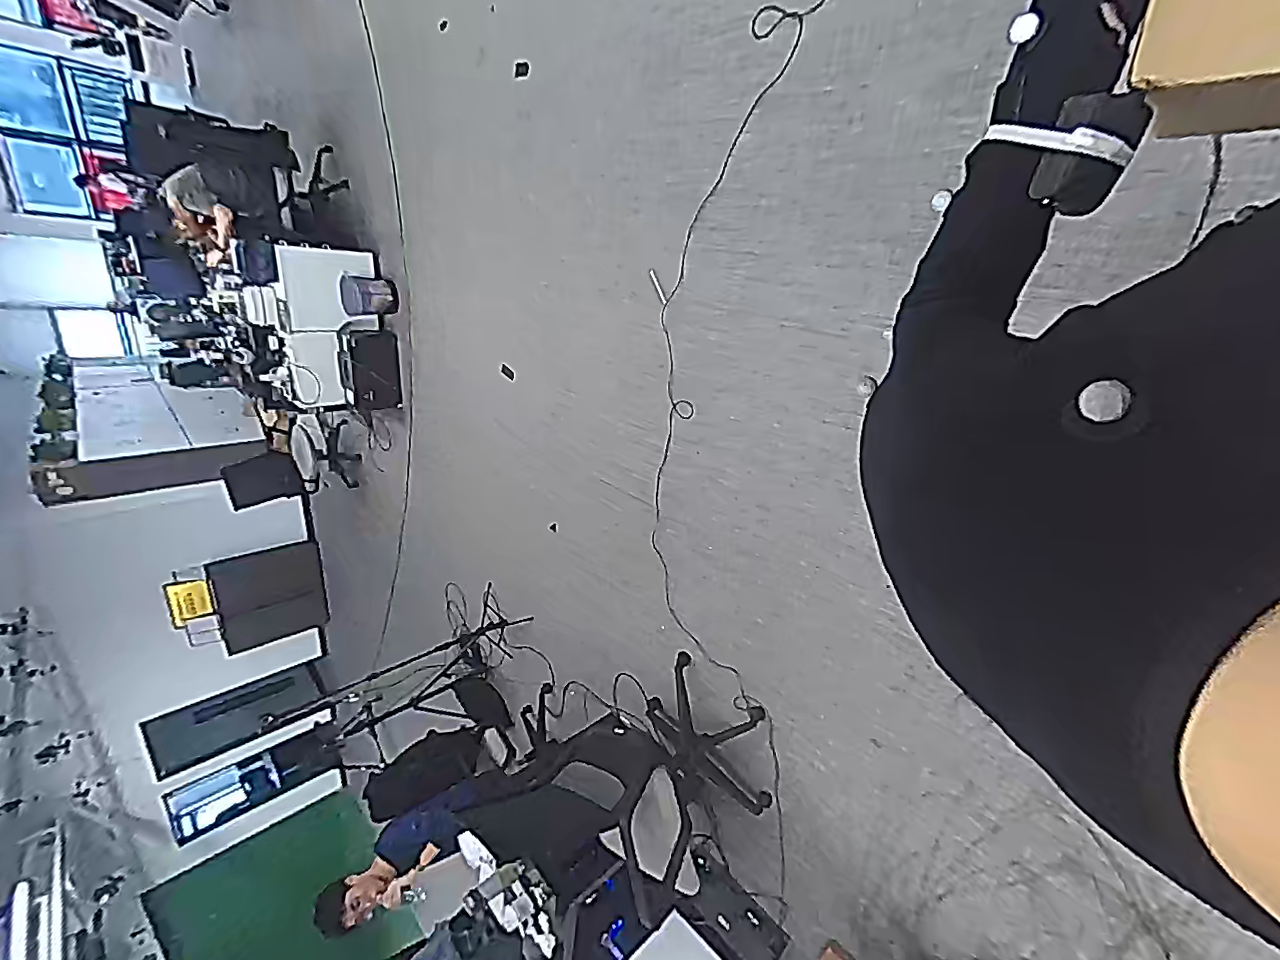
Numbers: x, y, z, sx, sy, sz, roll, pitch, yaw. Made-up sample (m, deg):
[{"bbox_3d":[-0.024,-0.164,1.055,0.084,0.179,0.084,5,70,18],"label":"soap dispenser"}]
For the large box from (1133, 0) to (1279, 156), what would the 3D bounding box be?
[{"bbox_3d":[0.563,-0.381,0.275,0.408,0.320,0.320,19,122,39],"label":"large box"}]
